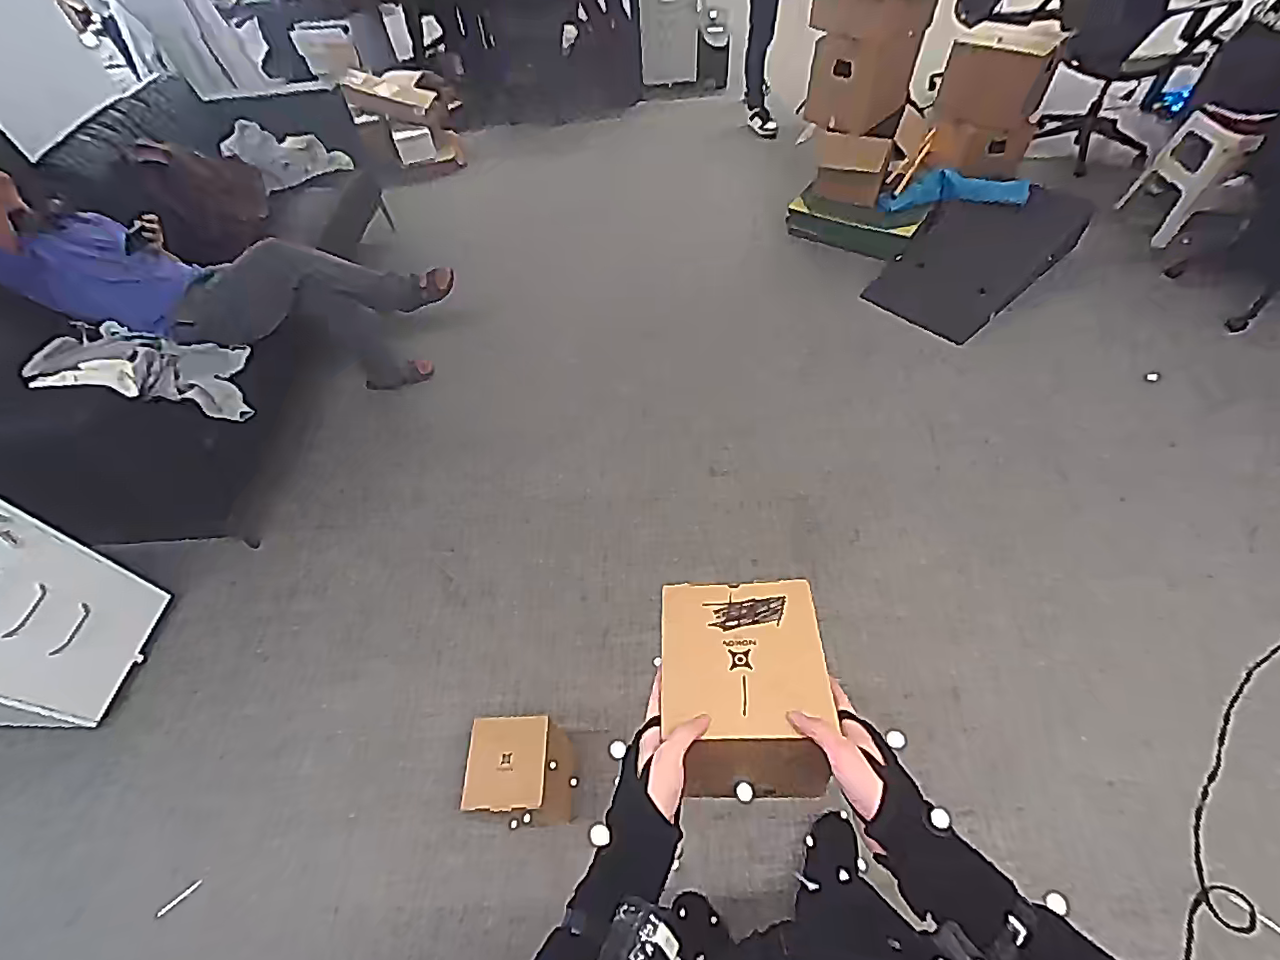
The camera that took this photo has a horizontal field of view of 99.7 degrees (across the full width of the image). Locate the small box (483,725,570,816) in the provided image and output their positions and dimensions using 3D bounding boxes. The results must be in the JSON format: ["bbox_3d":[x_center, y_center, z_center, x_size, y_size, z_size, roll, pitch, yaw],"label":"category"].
[{"bbox_3d":[-0.270,0.711,1.321,0.168,0.176,0.179,-2,54,4],"label":"small box"}]

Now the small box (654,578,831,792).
[{"bbox_3d":[0.109,0.231,0.616,0.168,0.176,0.179,-3,45,8],"label":"small box"}]

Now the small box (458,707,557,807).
[{"bbox_3d":[-0.281,0.614,1.191,0.168,0.176,0.179,-3,53,2],"label":"small box"}]
